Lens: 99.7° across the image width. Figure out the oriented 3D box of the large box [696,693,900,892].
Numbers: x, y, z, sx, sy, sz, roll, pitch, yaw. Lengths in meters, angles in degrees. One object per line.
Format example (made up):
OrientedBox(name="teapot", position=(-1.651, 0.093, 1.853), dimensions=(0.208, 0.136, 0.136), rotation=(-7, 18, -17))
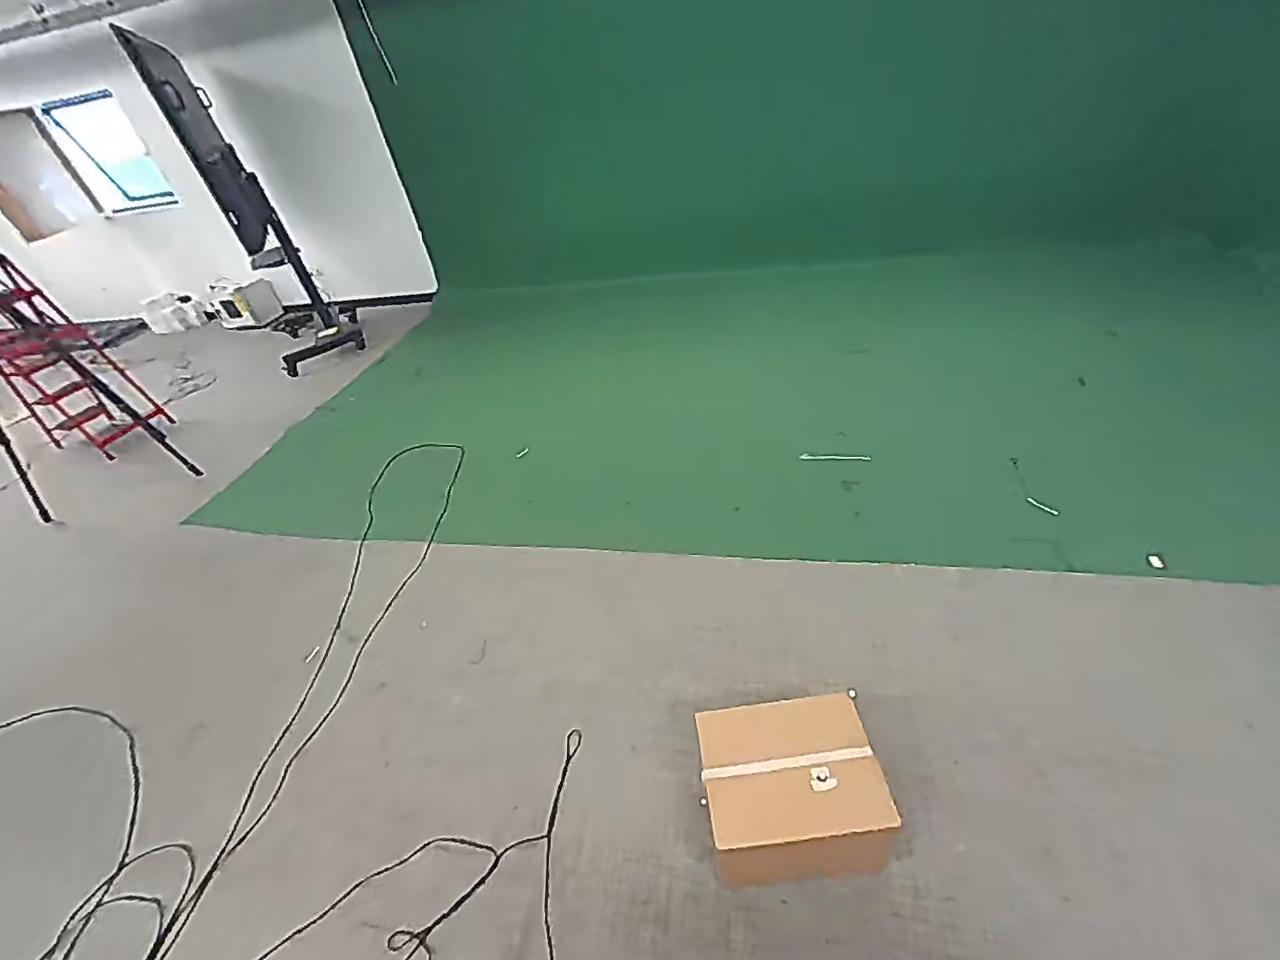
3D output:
OrientedBox(name="large box", position=(0.372, 0.789, 1.368), dimensions=(0.408, 0.320, 0.320), rotation=(-9, 38, 2))
